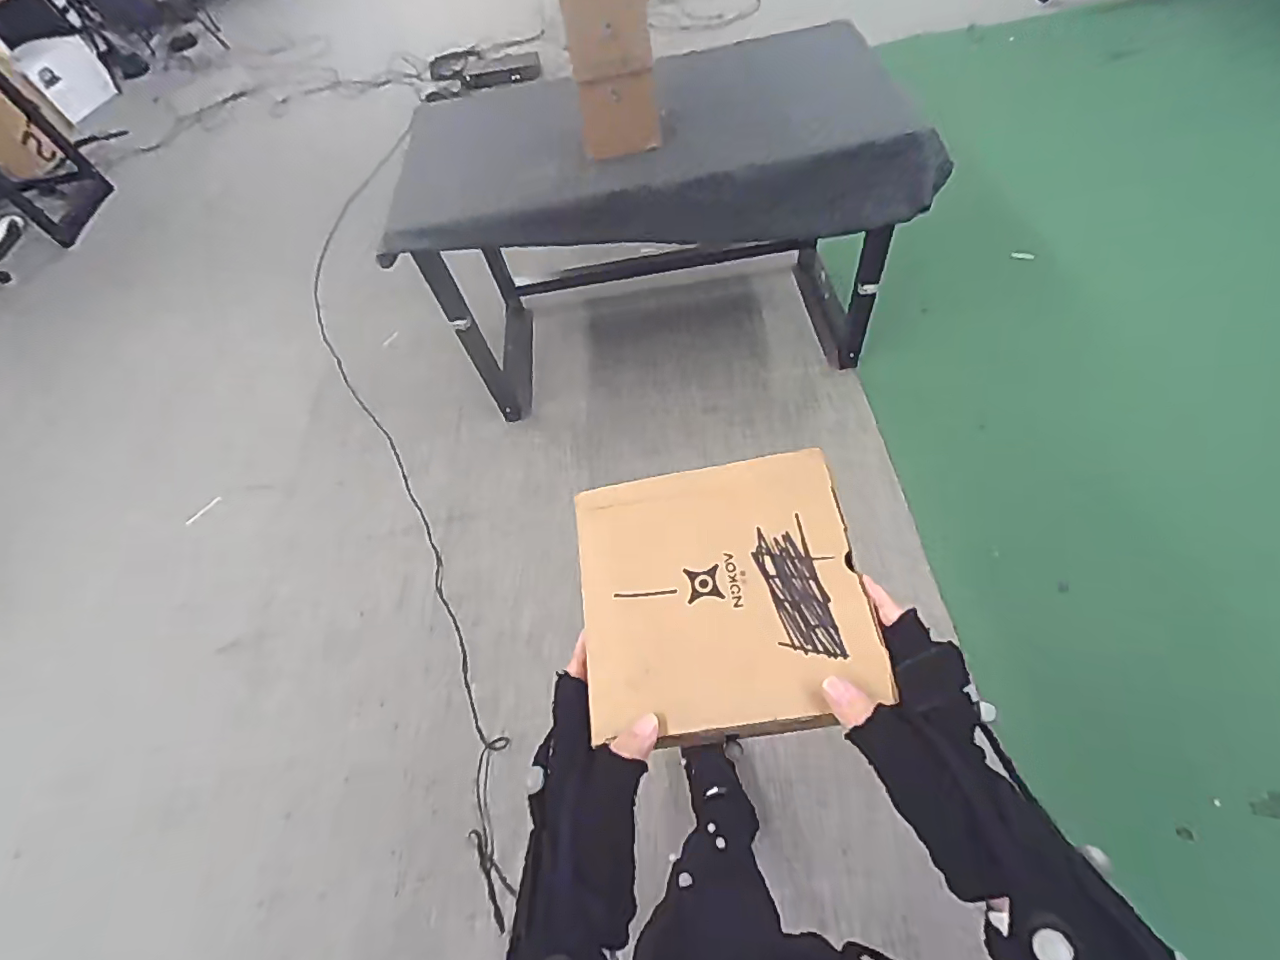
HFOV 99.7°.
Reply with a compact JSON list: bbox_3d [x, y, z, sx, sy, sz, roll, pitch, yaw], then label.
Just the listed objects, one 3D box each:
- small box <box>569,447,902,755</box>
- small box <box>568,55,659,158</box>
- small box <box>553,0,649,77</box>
[{"bbox_3d":[0.057,0.100,0.406,0.179,0.176,0.168,-12,62,2],"label":"small box"},{"bbox_3d":[-0.059,-0.860,1.226,0.179,0.176,0.168,-9,58,2],"label":"small box"},{"bbox_3d":[-0.080,-0.940,1.084,0.168,0.176,0.179,-9,59,3],"label":"small box"}]
